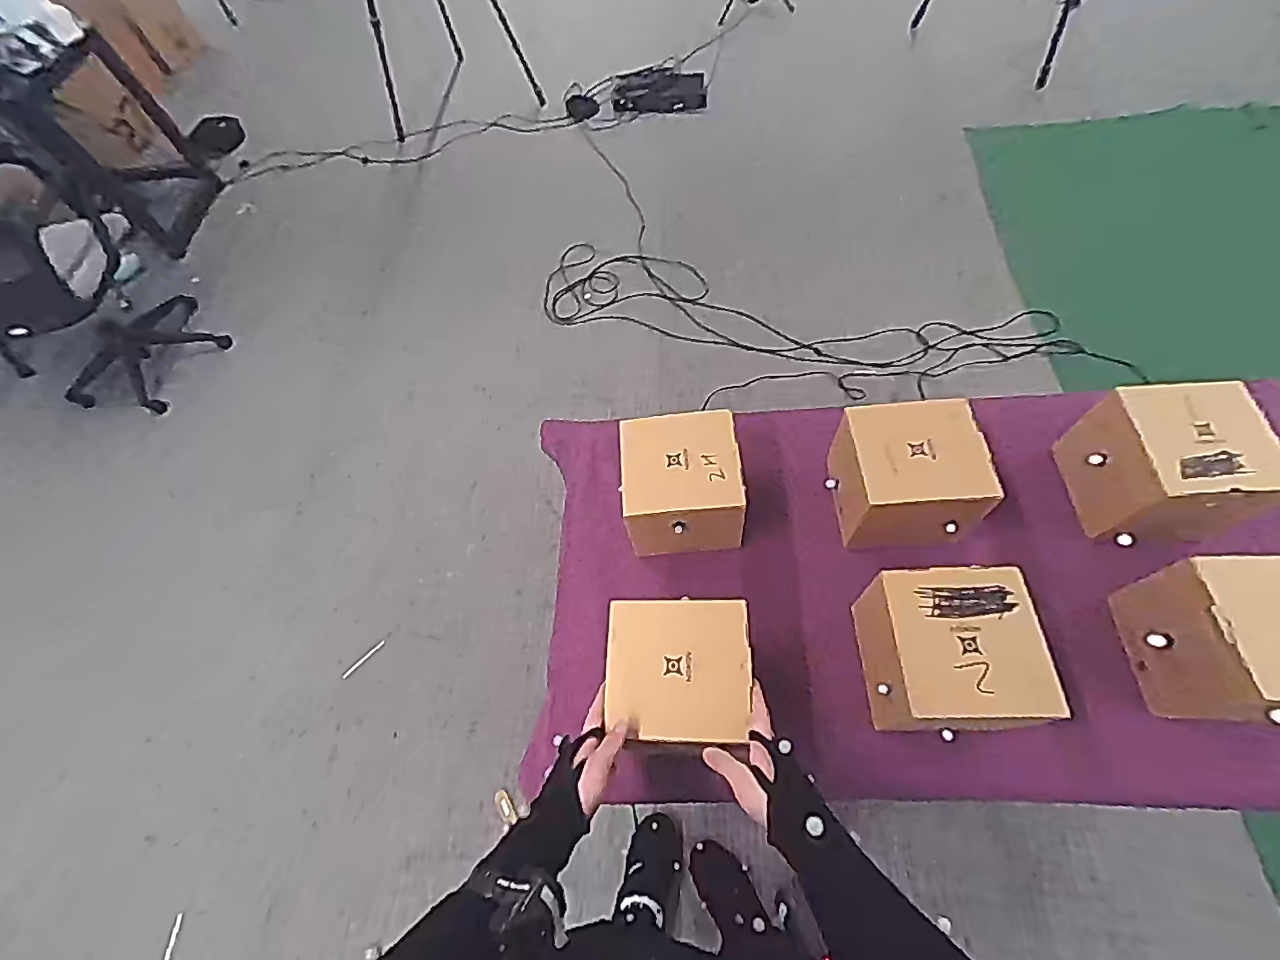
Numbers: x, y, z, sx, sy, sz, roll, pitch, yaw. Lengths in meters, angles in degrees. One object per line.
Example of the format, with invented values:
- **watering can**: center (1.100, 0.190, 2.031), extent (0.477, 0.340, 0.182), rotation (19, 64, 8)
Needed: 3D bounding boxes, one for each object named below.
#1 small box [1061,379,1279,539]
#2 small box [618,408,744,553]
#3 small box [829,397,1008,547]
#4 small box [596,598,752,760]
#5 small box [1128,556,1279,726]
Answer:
- **small box**: center (0.758, -0.021, 0.773), extent (0.168, 0.176, 0.179), rotation (-2, 61, 7)
- **small box**: center (0.066, 0.009, 0.849), extent (0.179, 0.176, 0.168), rotation (-5, 62, 5)
- **small box**: center (0.401, -0.006, 0.815), extent (0.179, 0.176, 0.168), rotation (-4, 61, 6)
- **small box**: center (0.052, 0.261, 0.701), extent (0.179, 0.176, 0.168), rotation (-2, 58, 8)
- **small box**: center (0.749, 0.200, 0.654), extent (0.179, 0.176, 0.168), rotation (-1, 61, 8)
